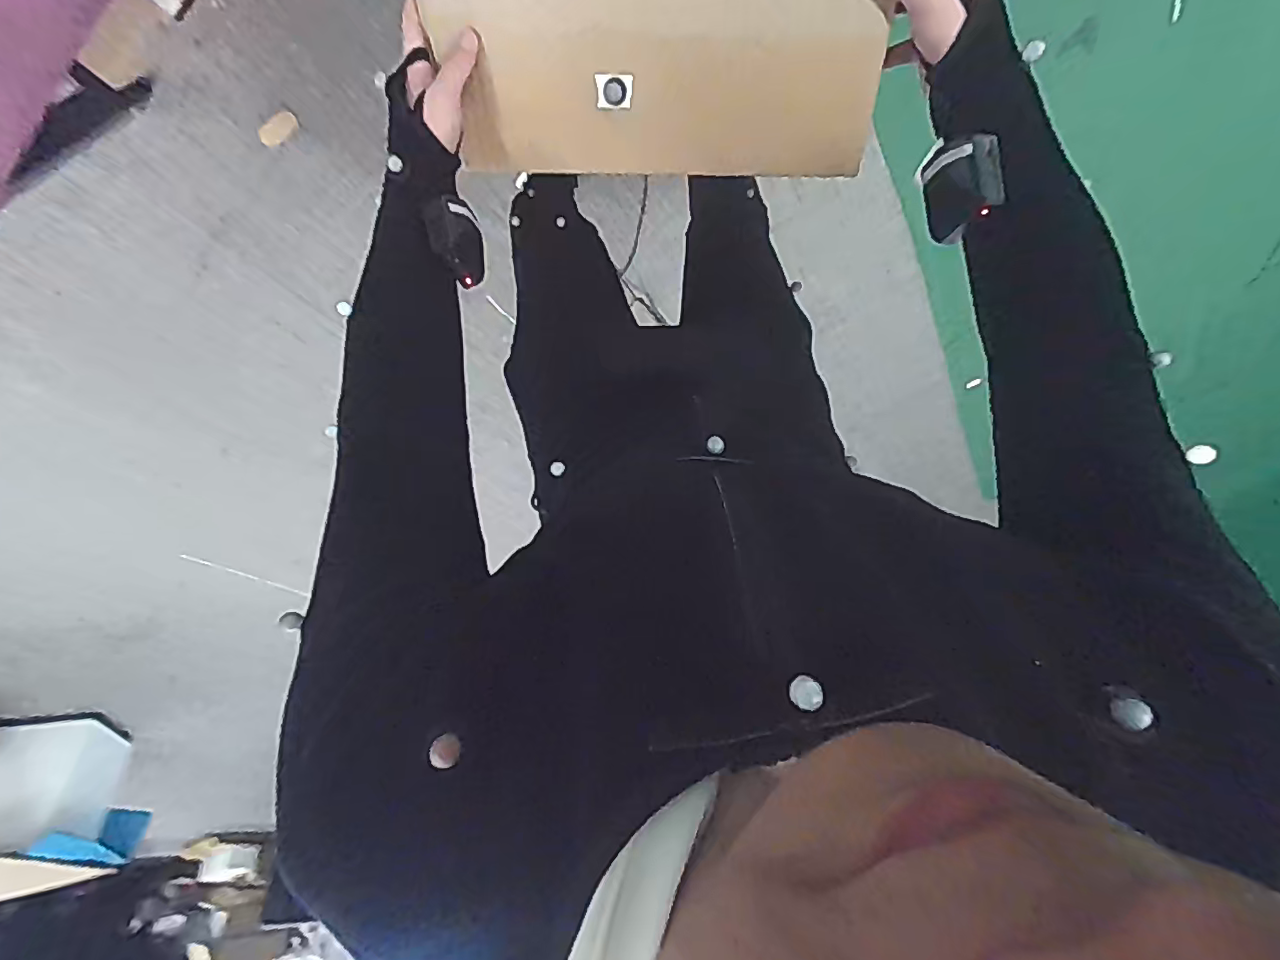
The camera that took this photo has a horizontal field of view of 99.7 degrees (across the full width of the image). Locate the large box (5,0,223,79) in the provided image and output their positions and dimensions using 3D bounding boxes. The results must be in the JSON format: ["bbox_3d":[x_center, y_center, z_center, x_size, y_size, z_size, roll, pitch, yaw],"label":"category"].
[{"bbox_3d":[-0.766,-0.840,0.684,0.320,0.320,0.408,-32,135,20],"label":"large box"}]
